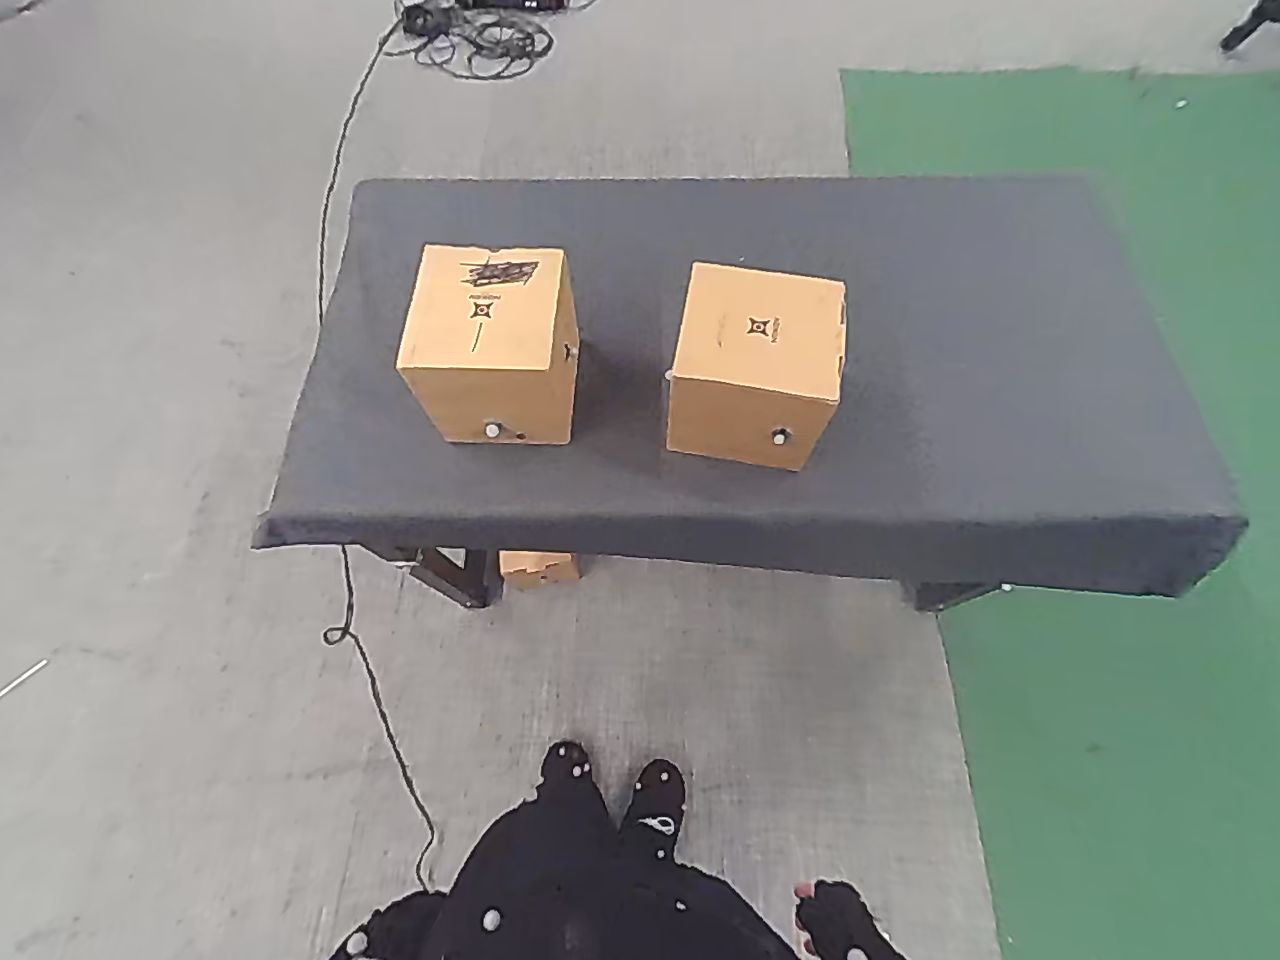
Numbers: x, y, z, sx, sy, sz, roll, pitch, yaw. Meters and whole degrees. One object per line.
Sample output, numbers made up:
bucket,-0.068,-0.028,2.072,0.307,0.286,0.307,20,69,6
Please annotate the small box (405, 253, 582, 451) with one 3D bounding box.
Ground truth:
small box,-0.166,-0.155,0.681,0.168,0.176,0.179,2,66,1

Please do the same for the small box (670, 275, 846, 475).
small box,0.137,-0.120,0.667,0.179,0.176,0.168,9,65,6

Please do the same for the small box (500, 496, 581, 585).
small box,-0.243,0.157,1.344,0.168,0.176,0.179,-8,67,-3
